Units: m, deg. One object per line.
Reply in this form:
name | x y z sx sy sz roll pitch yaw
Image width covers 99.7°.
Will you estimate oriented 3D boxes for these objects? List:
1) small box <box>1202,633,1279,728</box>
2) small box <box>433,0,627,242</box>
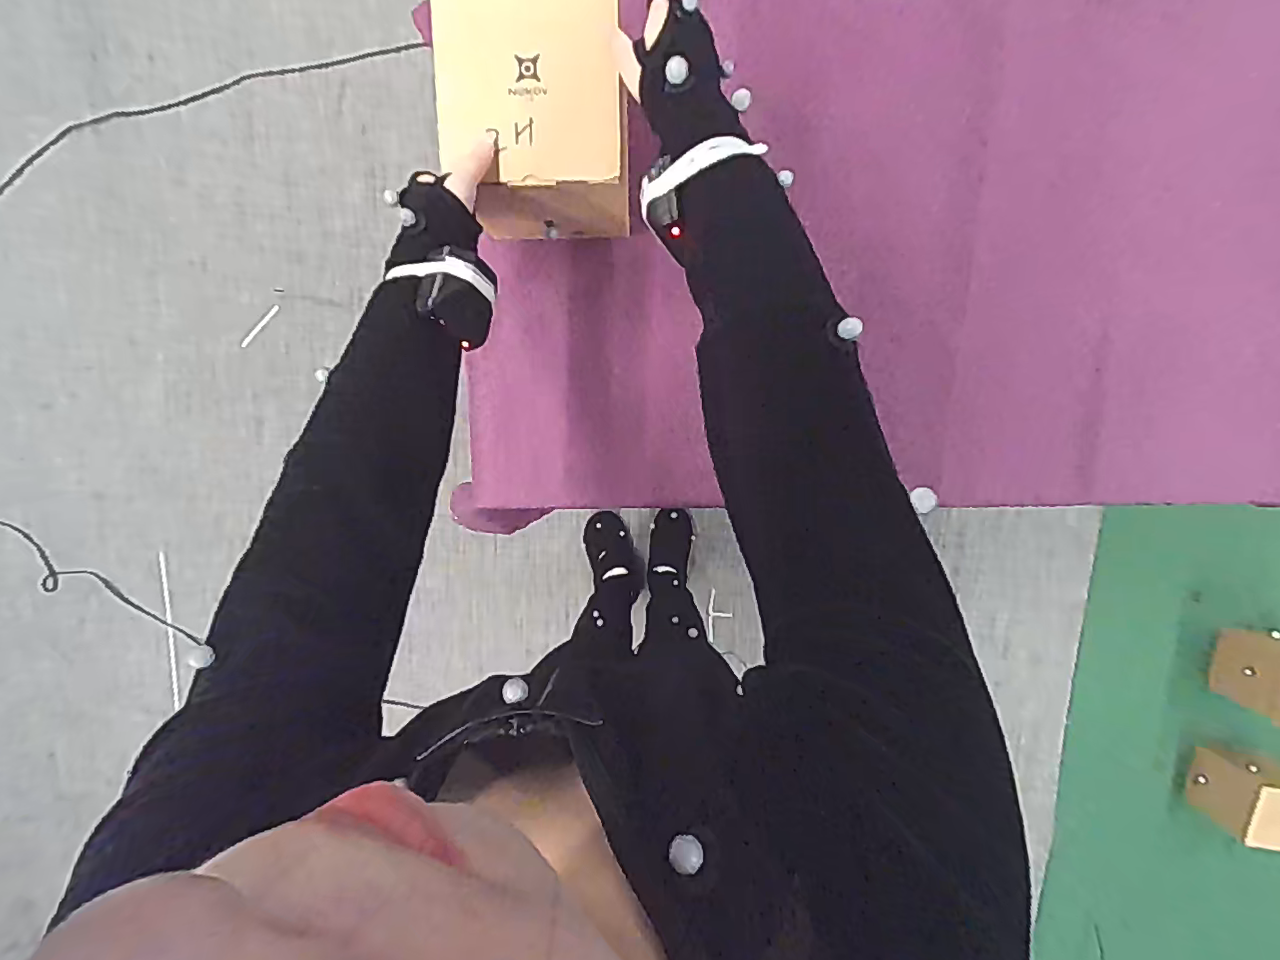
small box | 1.600 0.510 1.372 0.168 0.176 0.179 5 97 1
small box | -0.101 -0.364 0.562 0.168 0.176 0.179 0 98 2
